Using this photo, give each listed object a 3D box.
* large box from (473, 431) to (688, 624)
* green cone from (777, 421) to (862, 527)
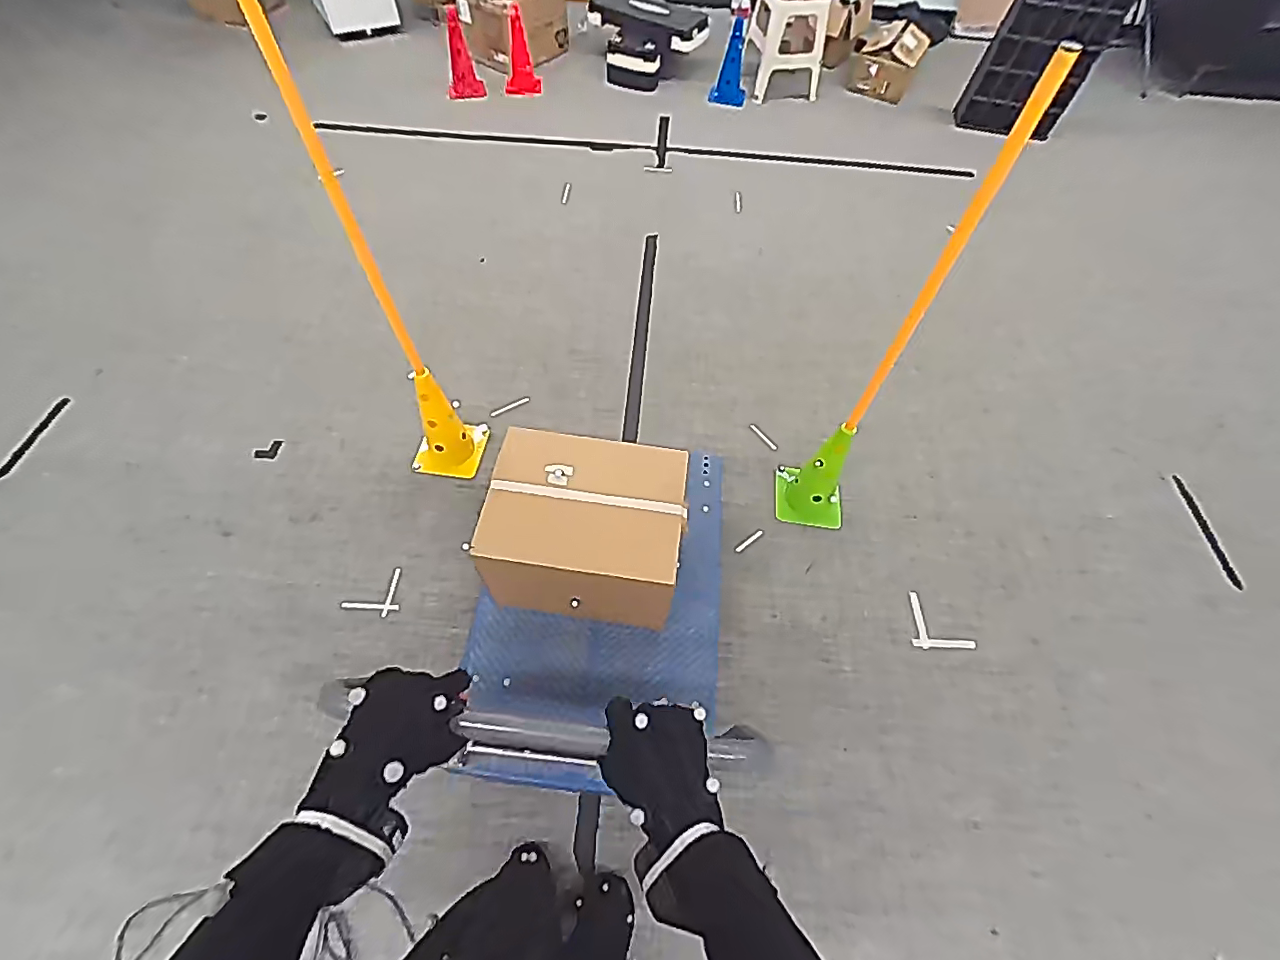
[{"bbox_3d":[-0.113,0.119,1.244,0.408,0.320,0.320,8,58,3],"label":"large box"},{"bbox_3d":[0.539,-0.042,1.547,0.202,0.368,0.200,9,58,1],"label":"green cone"}]
